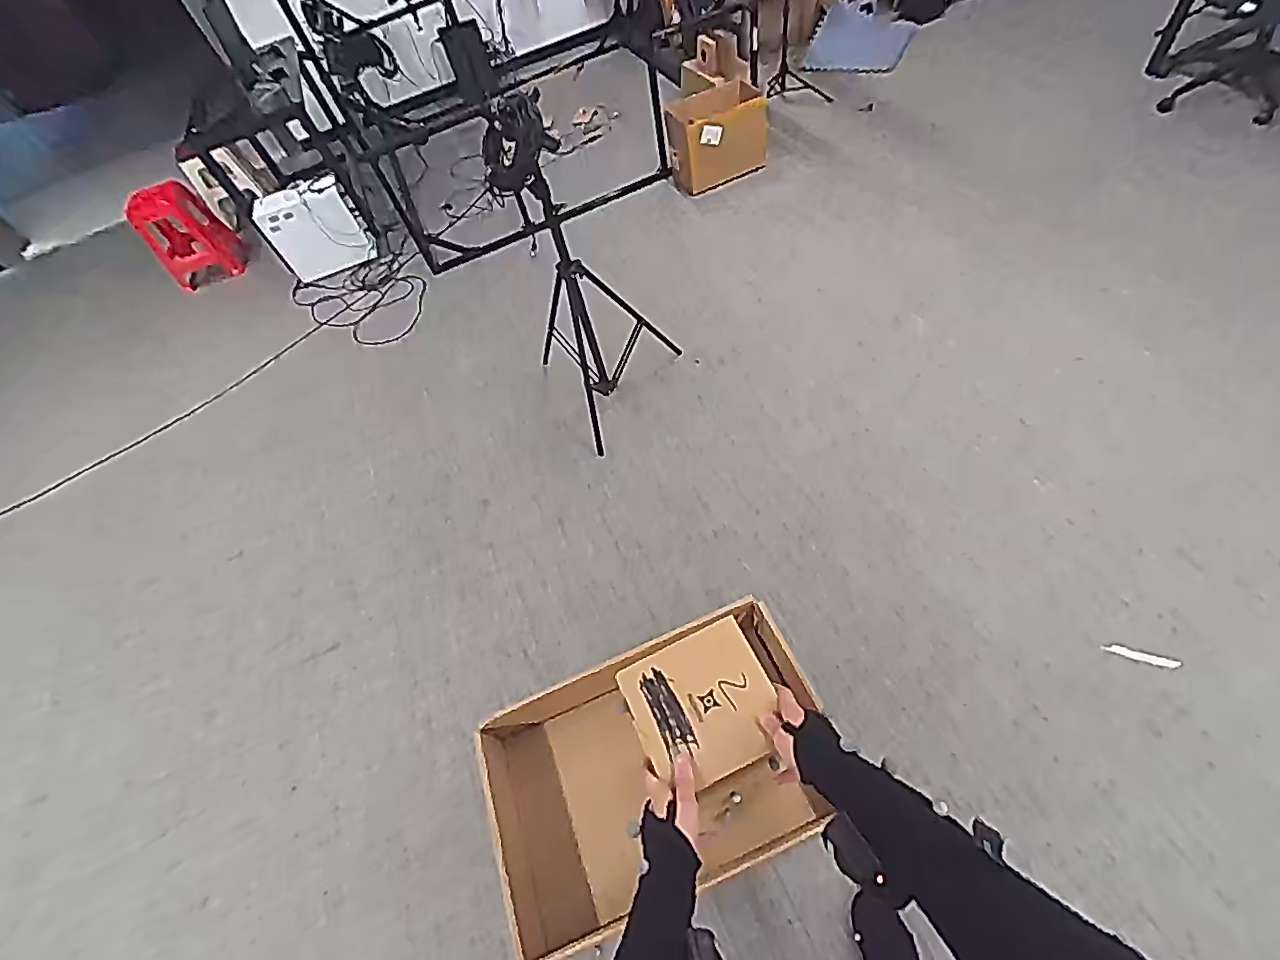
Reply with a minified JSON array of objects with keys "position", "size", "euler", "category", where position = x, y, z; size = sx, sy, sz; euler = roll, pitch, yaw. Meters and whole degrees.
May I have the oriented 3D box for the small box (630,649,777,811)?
[{"position":[0.102,0.405,0.868],"size":[0.168,0.176,0.179],"euler":[-26,56,-4],"category":"small box"}]
